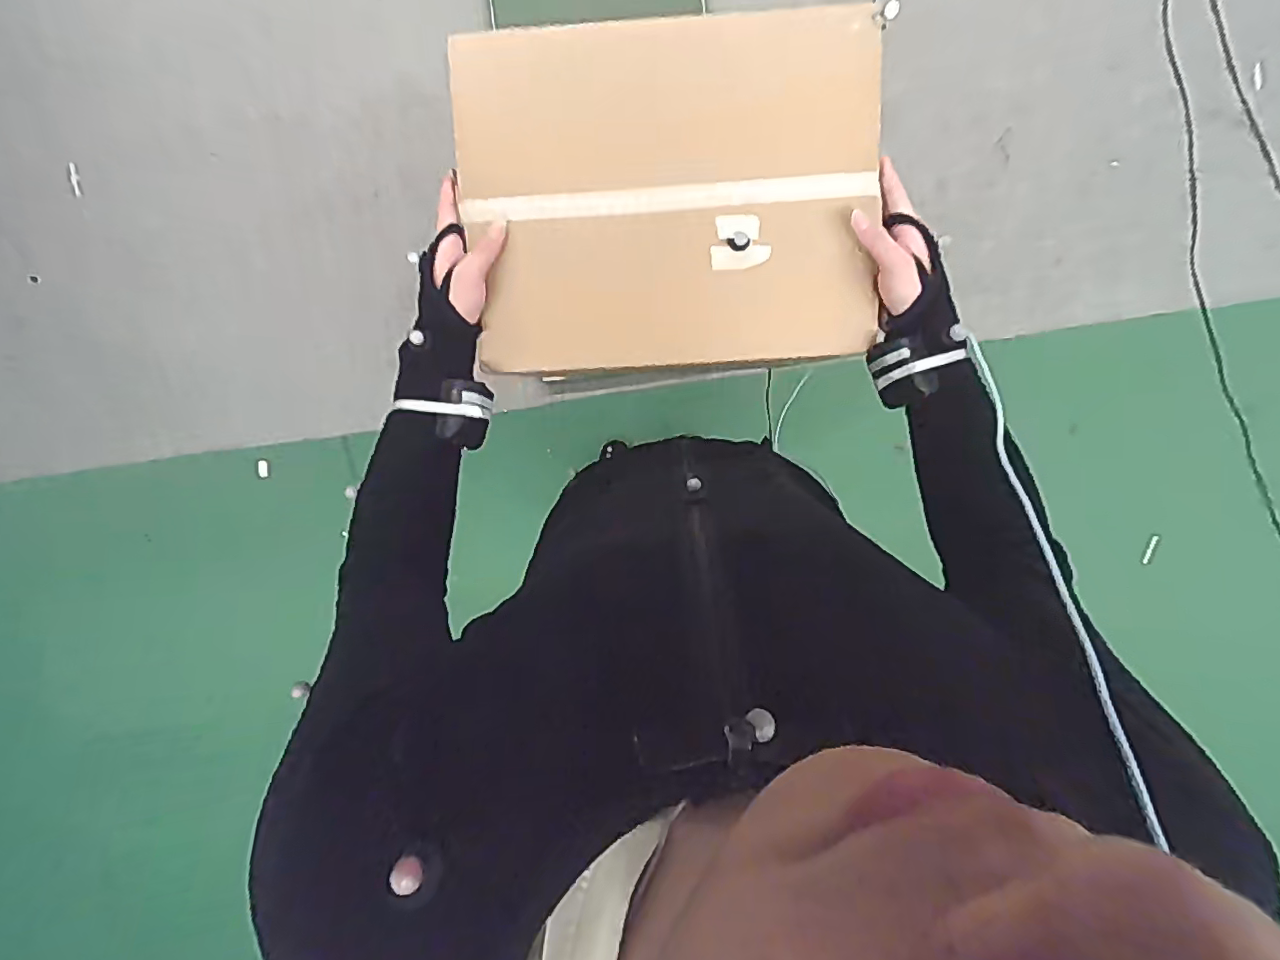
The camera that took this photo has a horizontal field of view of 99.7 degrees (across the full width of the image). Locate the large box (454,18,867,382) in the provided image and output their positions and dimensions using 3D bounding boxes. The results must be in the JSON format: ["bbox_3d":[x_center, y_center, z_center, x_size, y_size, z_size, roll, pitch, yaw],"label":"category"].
[{"bbox_3d":[0.027,-0.297,0.687,0.408,0.320,0.320,-3,100,2],"label":"large box"}]
